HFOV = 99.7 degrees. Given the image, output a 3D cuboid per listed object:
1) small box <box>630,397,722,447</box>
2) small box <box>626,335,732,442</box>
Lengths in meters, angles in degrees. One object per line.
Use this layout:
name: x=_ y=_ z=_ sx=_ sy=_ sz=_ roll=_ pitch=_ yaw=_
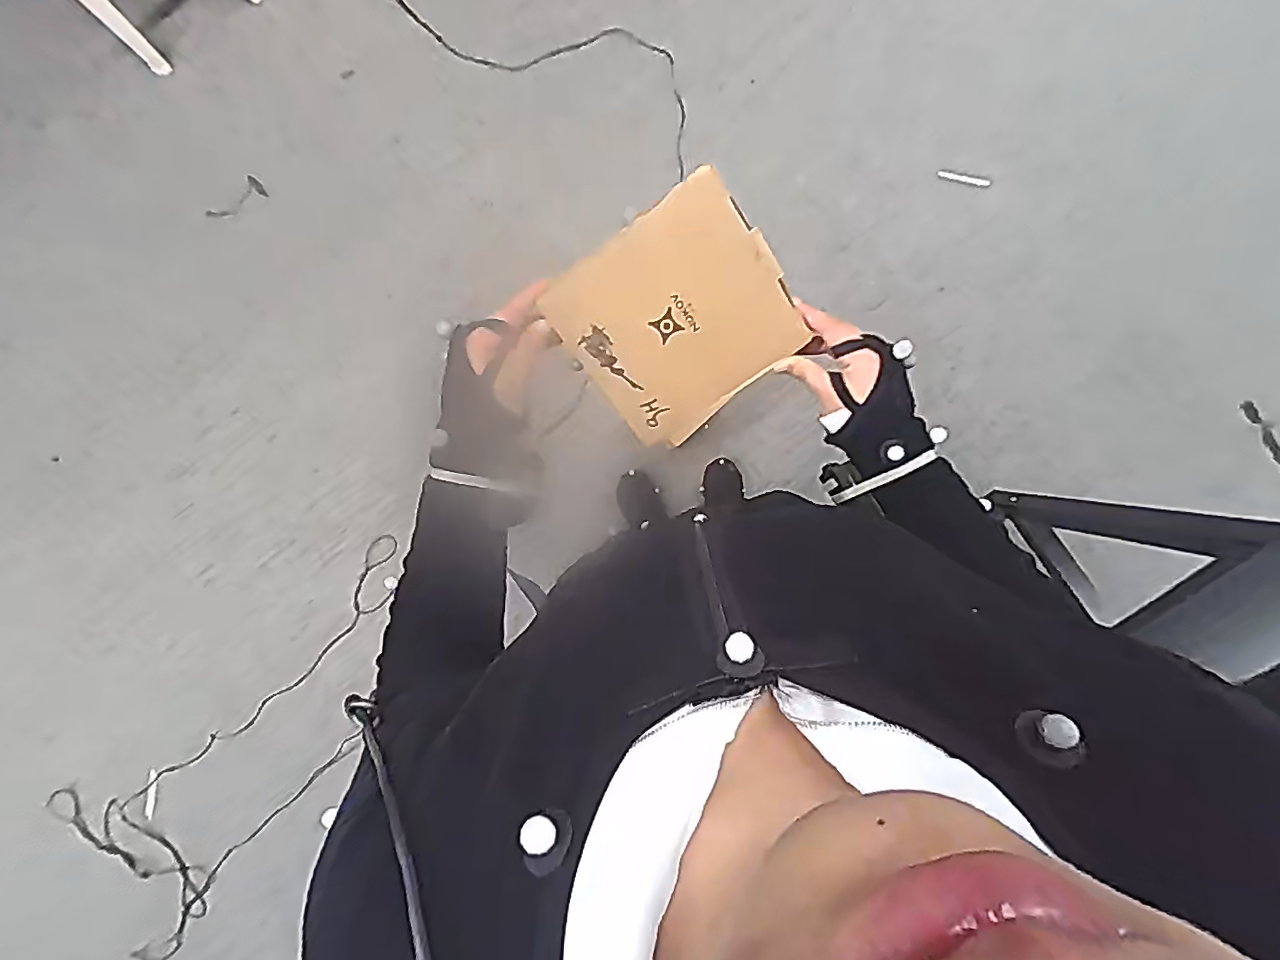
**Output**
small box: x=0.091 y=-0.203 z=1.418 sx=0.179 sy=0.176 sz=0.168 roll=-40 pitch=90 yaw=4
small box: x=0.088 y=-0.201 z=1.256 sx=0.179 sy=0.176 sz=0.168 roll=-43 pitch=92 yaw=2
